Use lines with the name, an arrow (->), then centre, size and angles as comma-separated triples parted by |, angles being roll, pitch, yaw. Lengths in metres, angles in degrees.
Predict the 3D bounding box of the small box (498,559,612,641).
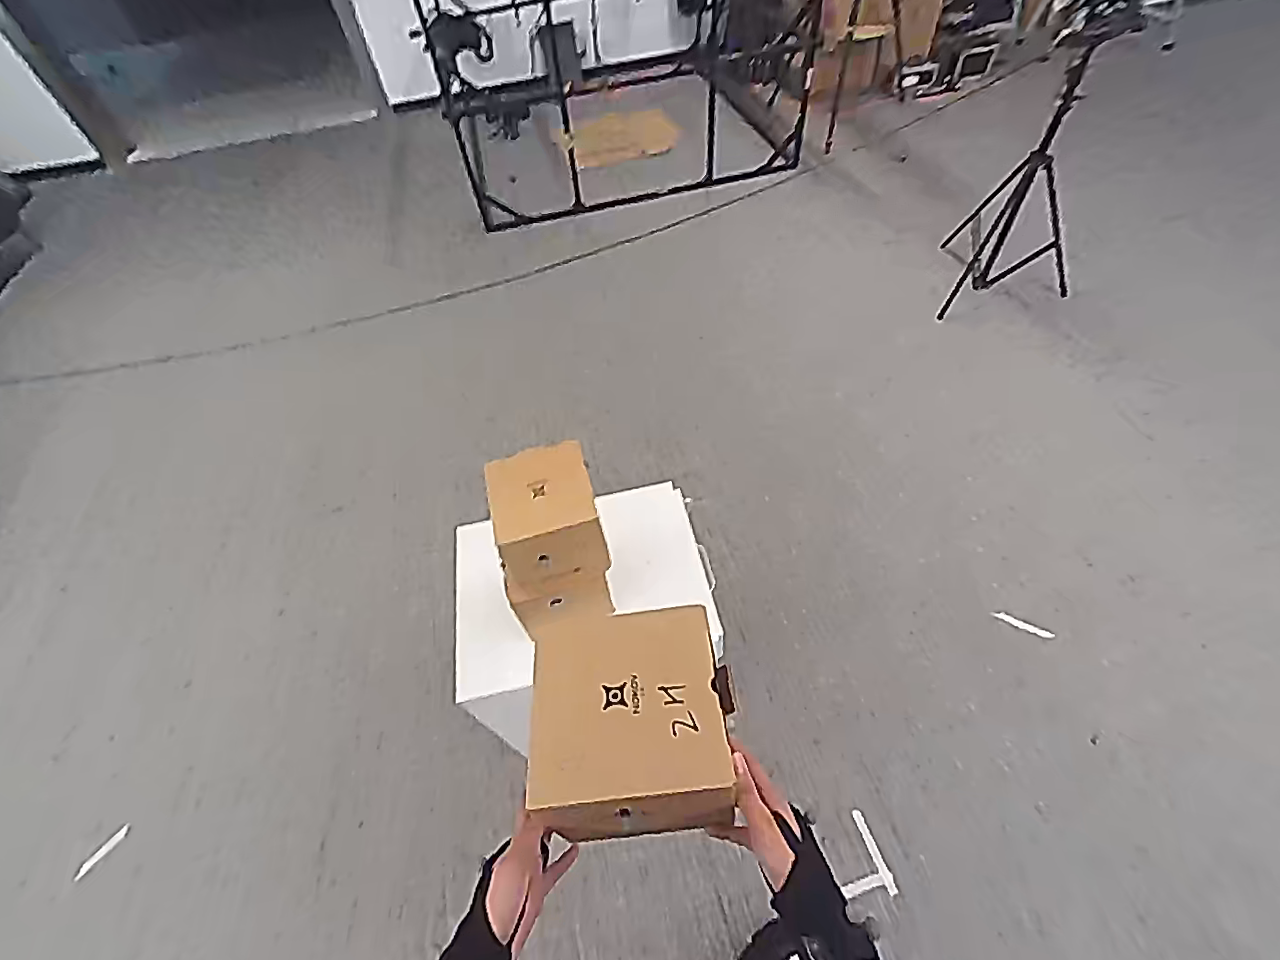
small box -> -0.165, 0.191, 1.060 | 0.179, 0.176, 0.168 | -17, 52, -9

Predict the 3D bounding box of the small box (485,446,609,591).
small box -> -0.159, 0.074, 0.944 | 0.168, 0.176, 0.179 | -15, 51, -7

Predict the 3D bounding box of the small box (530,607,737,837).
small box -> 0.000, 0.251, 0.553 | 0.179, 0.176, 0.168 | -6, 48, 2
